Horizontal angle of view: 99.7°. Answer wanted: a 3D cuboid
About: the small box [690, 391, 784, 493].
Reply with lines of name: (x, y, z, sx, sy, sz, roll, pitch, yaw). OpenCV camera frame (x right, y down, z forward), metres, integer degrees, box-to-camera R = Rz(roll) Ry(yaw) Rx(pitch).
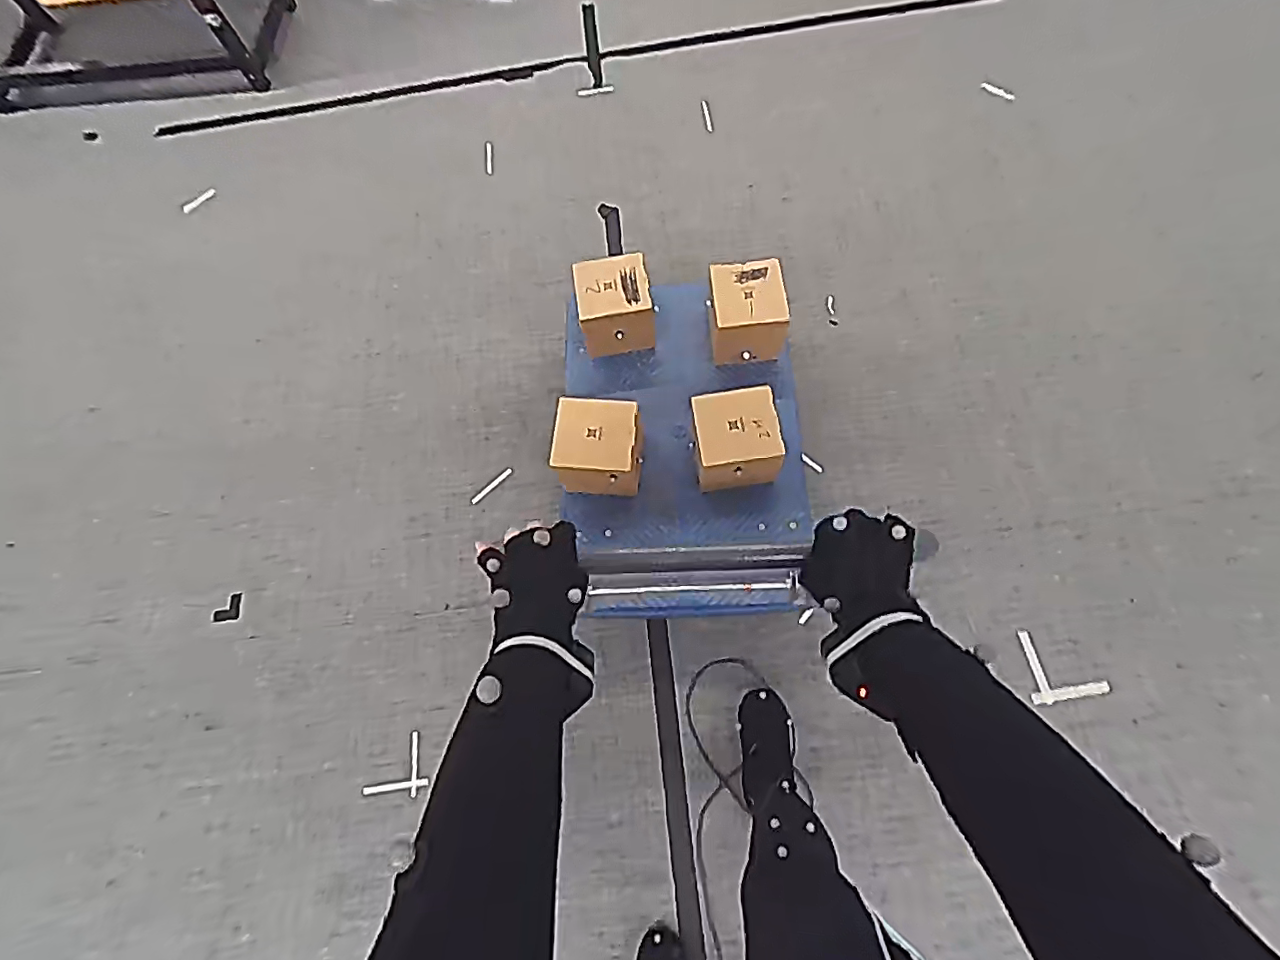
small box: (0.210, -0.079, 1.218, 0.179, 0.176, 0.168, -8, 70, 2)

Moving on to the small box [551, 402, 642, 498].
small box: (-0.092, -0.063, 1.237, 0.179, 0.176, 0.168, 3, 70, 4)

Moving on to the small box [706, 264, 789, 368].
small box: (0.256, -0.398, 1.329, 0.168, 0.176, 0.179, -5, 71, 3)
